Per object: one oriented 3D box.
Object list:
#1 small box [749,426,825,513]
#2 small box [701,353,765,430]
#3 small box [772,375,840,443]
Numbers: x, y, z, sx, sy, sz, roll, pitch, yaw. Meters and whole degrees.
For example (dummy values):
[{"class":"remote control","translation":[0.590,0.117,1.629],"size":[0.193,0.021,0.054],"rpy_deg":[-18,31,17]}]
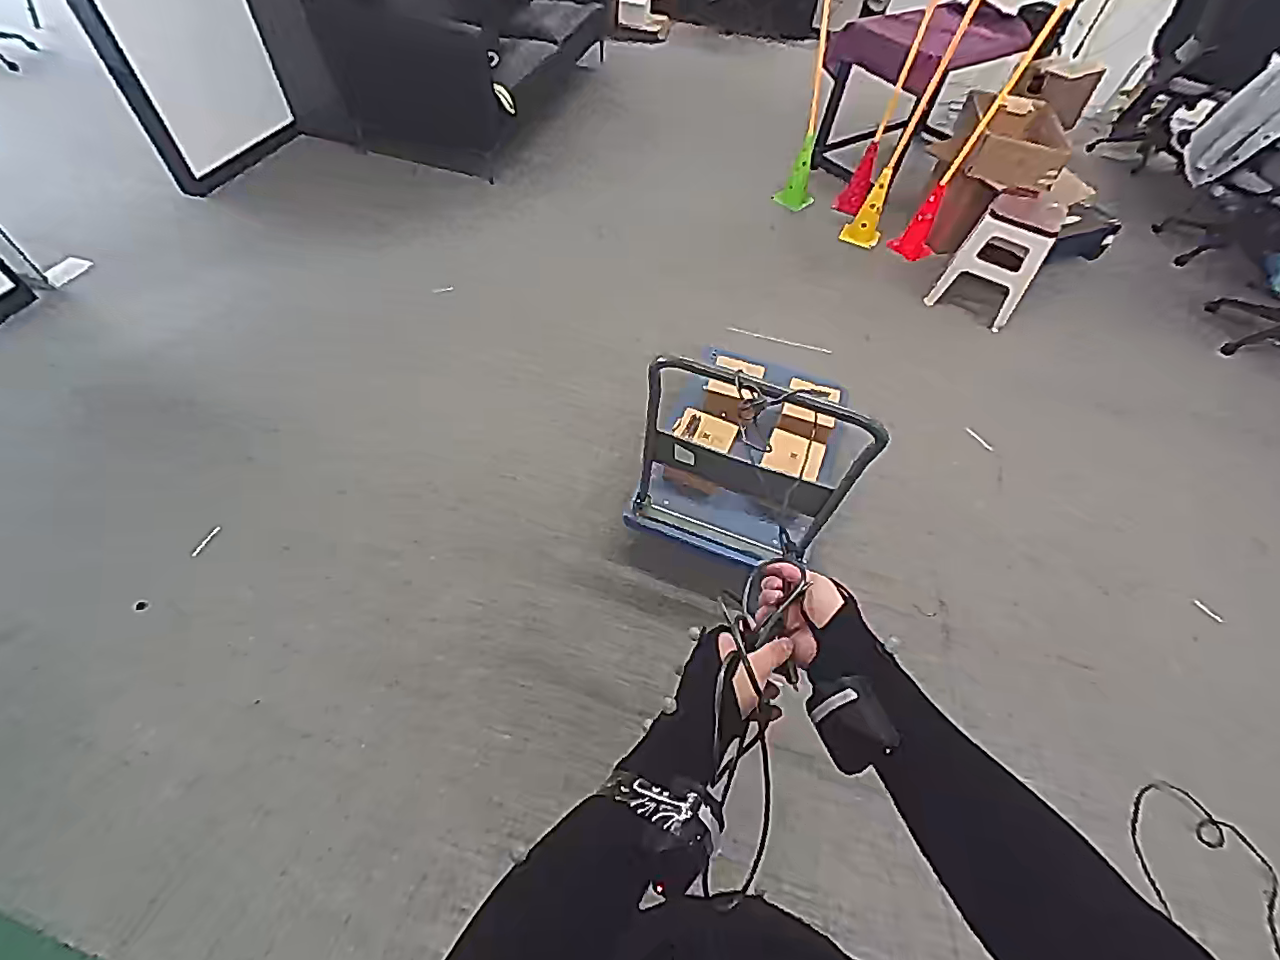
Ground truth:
[{"class":"small box","translation":[0.450,-0.030,1.672],"size":[0.168,0.176,0.179],"rpy_deg":[21,57,11]},{"class":"small box","translation":[0.313,-0.299,1.849],"size":[0.168,0.176,0.179],"rpy_deg":[17,56,8]},{"class":"small box","translation":[0.549,-0.214,1.805],"size":[0.168,0.176,0.179],"rpy_deg":[18,56,10]}]
